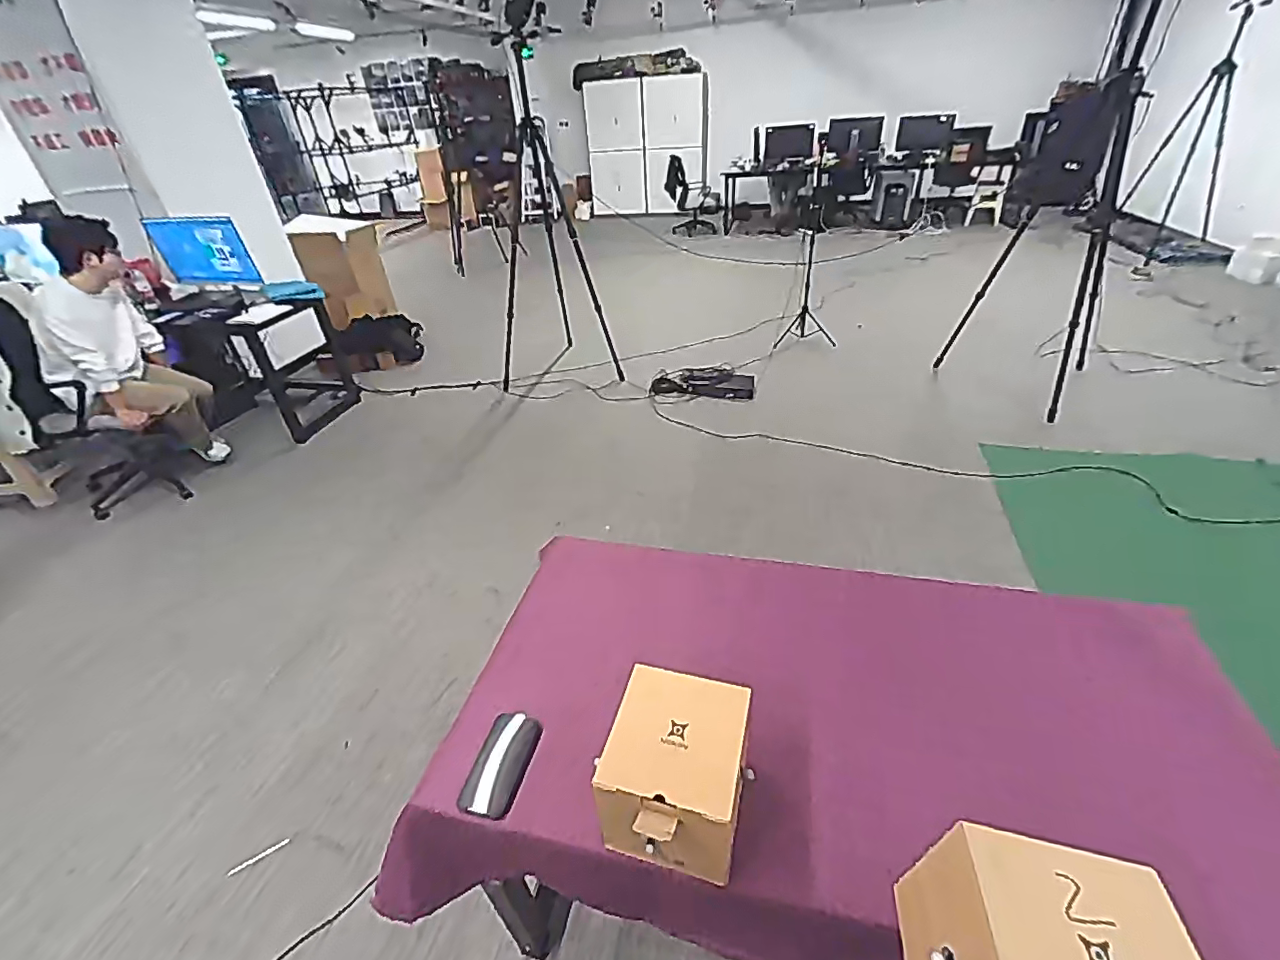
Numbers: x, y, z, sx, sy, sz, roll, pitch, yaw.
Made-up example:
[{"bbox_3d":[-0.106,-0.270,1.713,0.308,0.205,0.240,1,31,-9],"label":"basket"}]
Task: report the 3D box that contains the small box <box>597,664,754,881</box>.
[{"bbox_3d":[0.052,0.385,0.723,0.168,0.176,0.179,8,36,16],"label":"small box"}]
